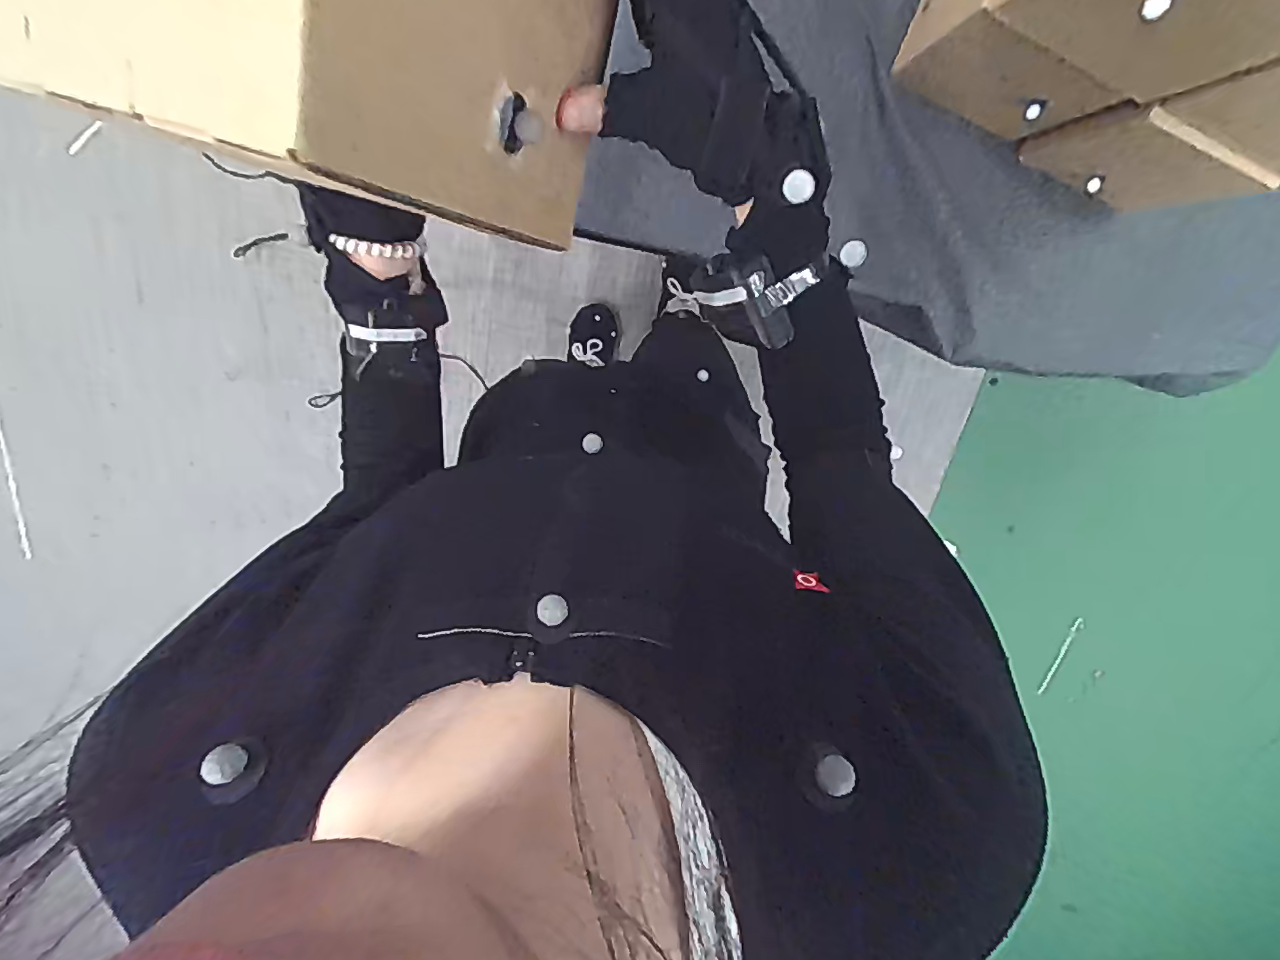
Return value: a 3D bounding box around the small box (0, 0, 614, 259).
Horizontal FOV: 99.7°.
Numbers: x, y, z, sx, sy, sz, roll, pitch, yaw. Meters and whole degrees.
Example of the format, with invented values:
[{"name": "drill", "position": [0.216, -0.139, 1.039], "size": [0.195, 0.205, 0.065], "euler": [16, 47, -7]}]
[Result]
[{"name": "small box", "position": [-0.119, -0.211, 0.228], "size": [0.168, 0.179, 0.176], "euler": [20, 109, 13]}]
